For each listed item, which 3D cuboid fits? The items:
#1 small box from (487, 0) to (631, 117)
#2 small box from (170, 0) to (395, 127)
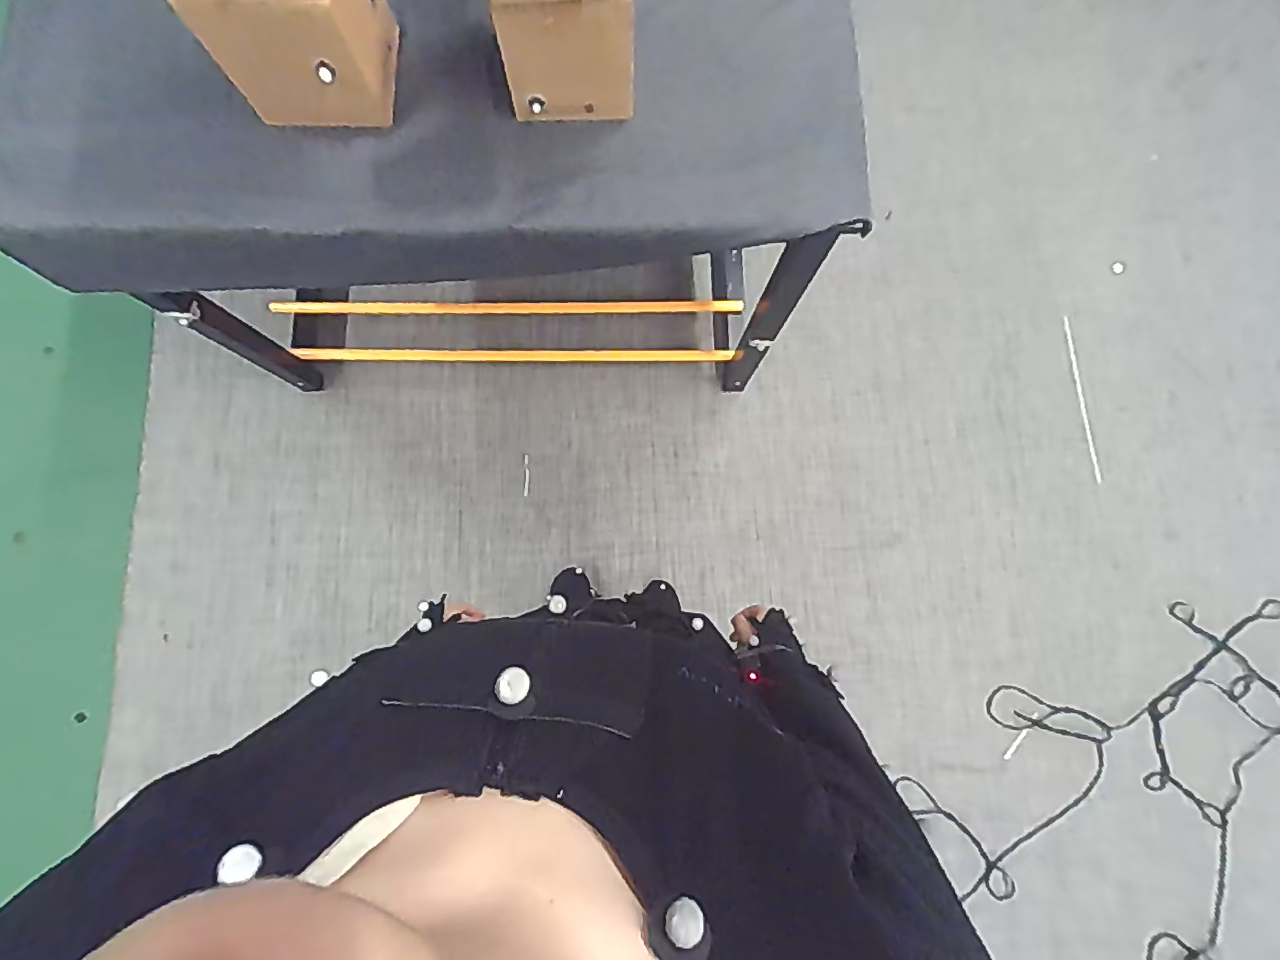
[{"bbox_3d":[-0.095,-0.607,0.700,0.168,0.176,0.179,-2,79,-3],"label":"small box"},{"bbox_3d":[-0.432,-0.584,0.687,0.179,0.176,0.168,-1,79,-1],"label":"small box"}]
